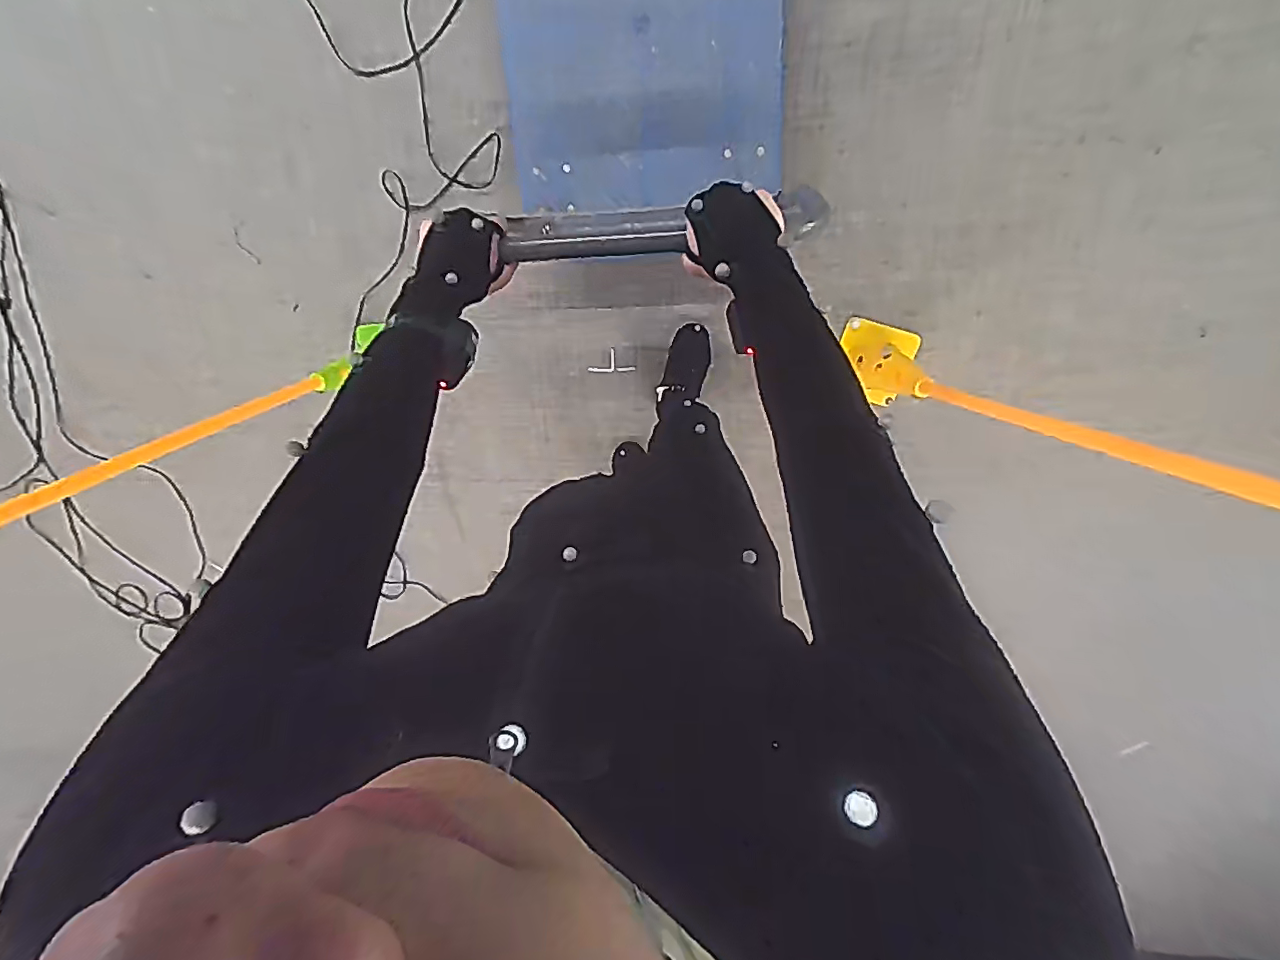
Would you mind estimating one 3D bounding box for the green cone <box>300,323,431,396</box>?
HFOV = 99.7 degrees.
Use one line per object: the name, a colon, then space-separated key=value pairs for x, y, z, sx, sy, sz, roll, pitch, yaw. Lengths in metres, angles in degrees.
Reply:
green cone: x=-0.731 y=-0.285 z=1.396 sx=0.202 sy=0.368 sz=0.200 roll=-3 pitch=110 yaw=9
